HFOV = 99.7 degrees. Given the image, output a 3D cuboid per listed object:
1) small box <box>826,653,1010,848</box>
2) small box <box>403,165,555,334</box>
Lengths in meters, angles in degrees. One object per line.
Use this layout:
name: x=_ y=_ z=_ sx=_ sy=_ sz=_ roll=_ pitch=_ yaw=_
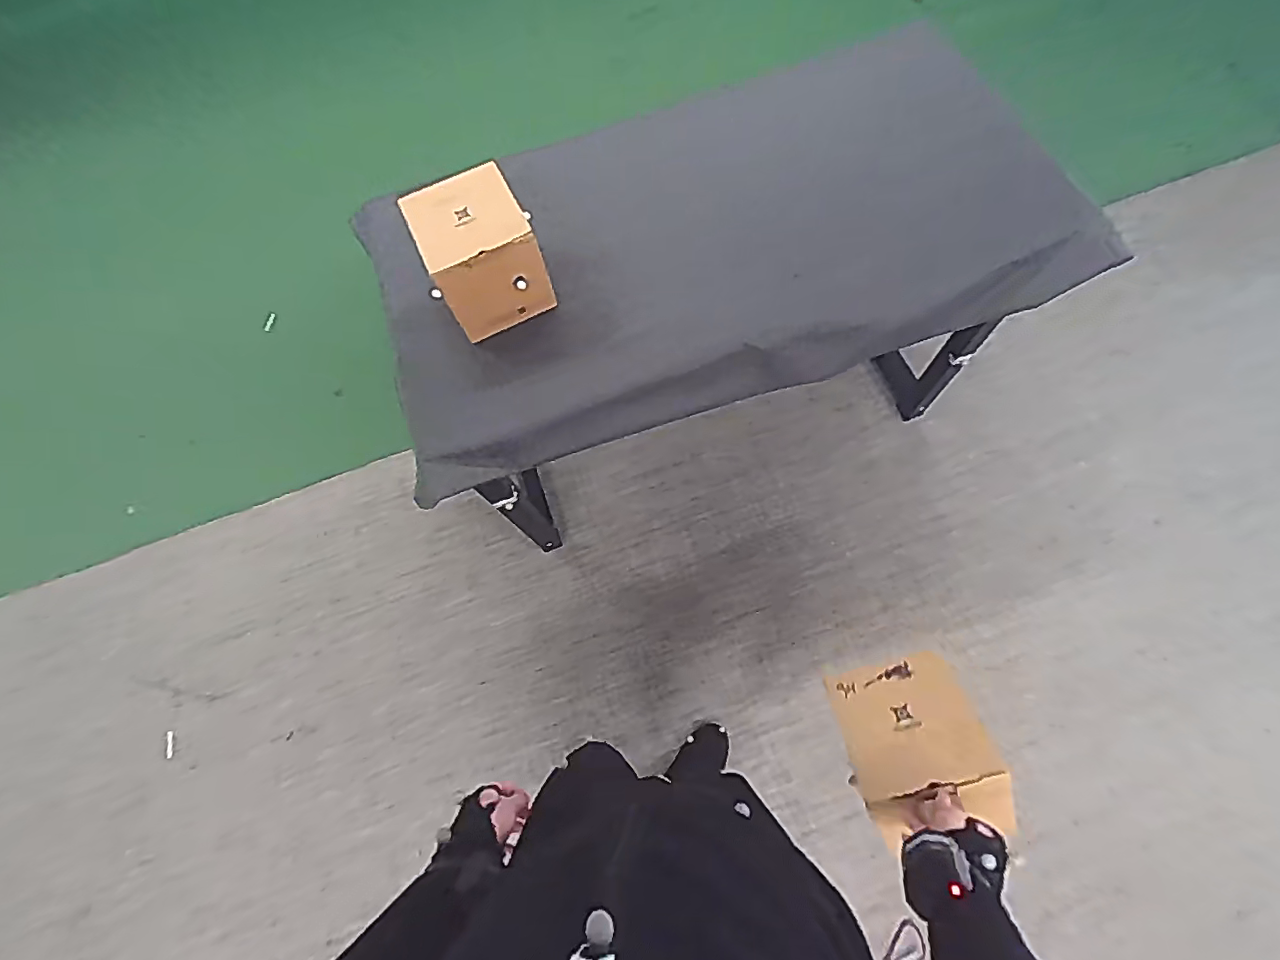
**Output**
small box: x=0.379 y=0.377 z=0.745 sx=0.168 sy=0.176 sz=0.179 roll=-20 pitch=32 yaw=13
small box: x=-0.257 y=-0.369 z=0.899 sx=0.168 sy=0.176 sz=0.179 roll=-26 pitch=68 yaw=-7
